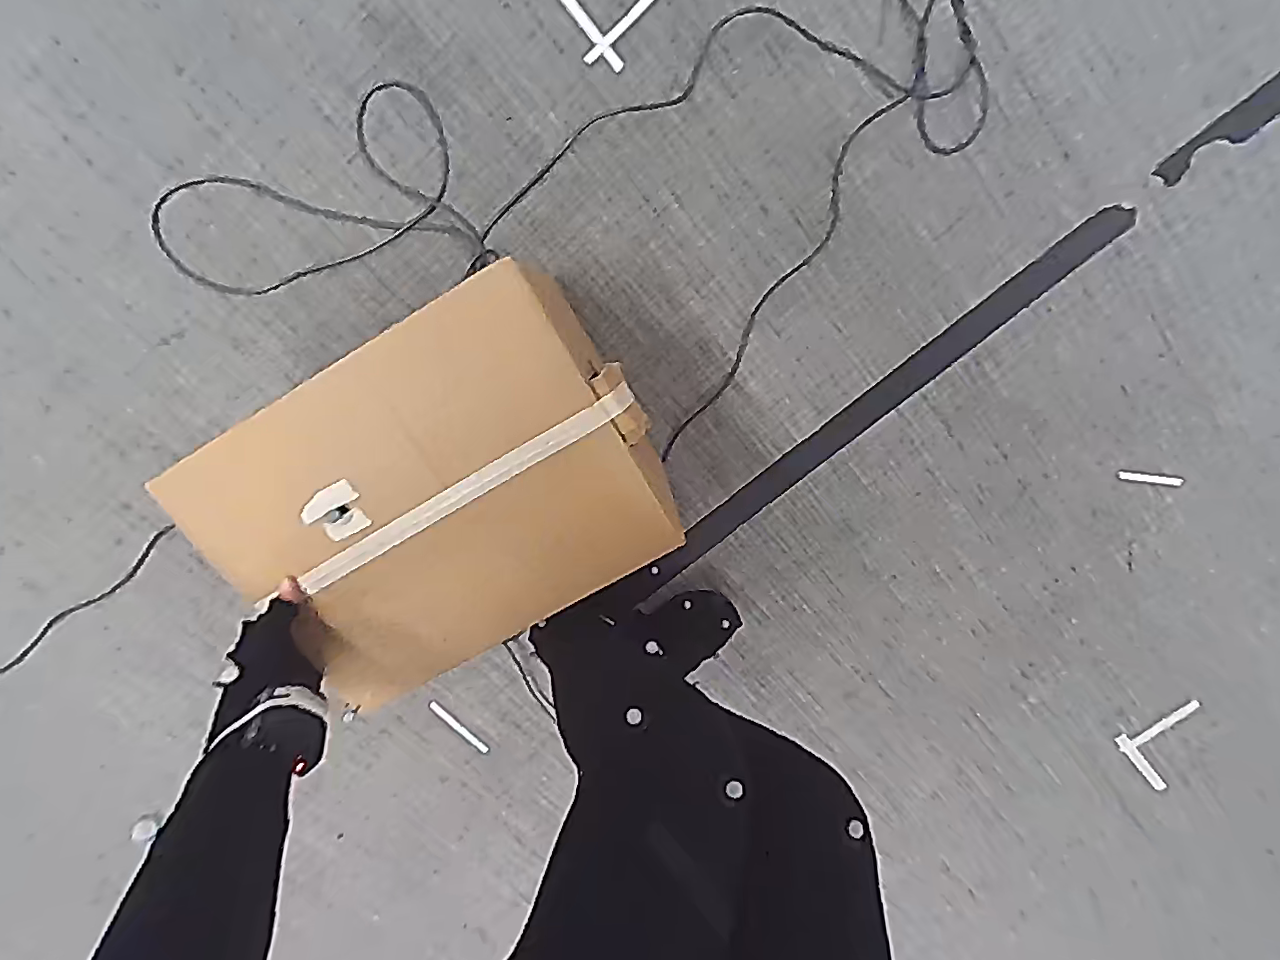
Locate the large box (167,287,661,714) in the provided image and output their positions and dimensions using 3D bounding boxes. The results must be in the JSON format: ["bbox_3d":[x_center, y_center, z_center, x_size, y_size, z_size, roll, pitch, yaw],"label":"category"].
[{"bbox_3d":[-0.224,0.000,0.686,0.408,0.320,0.320,-29,106,8],"label":"large box"}]
